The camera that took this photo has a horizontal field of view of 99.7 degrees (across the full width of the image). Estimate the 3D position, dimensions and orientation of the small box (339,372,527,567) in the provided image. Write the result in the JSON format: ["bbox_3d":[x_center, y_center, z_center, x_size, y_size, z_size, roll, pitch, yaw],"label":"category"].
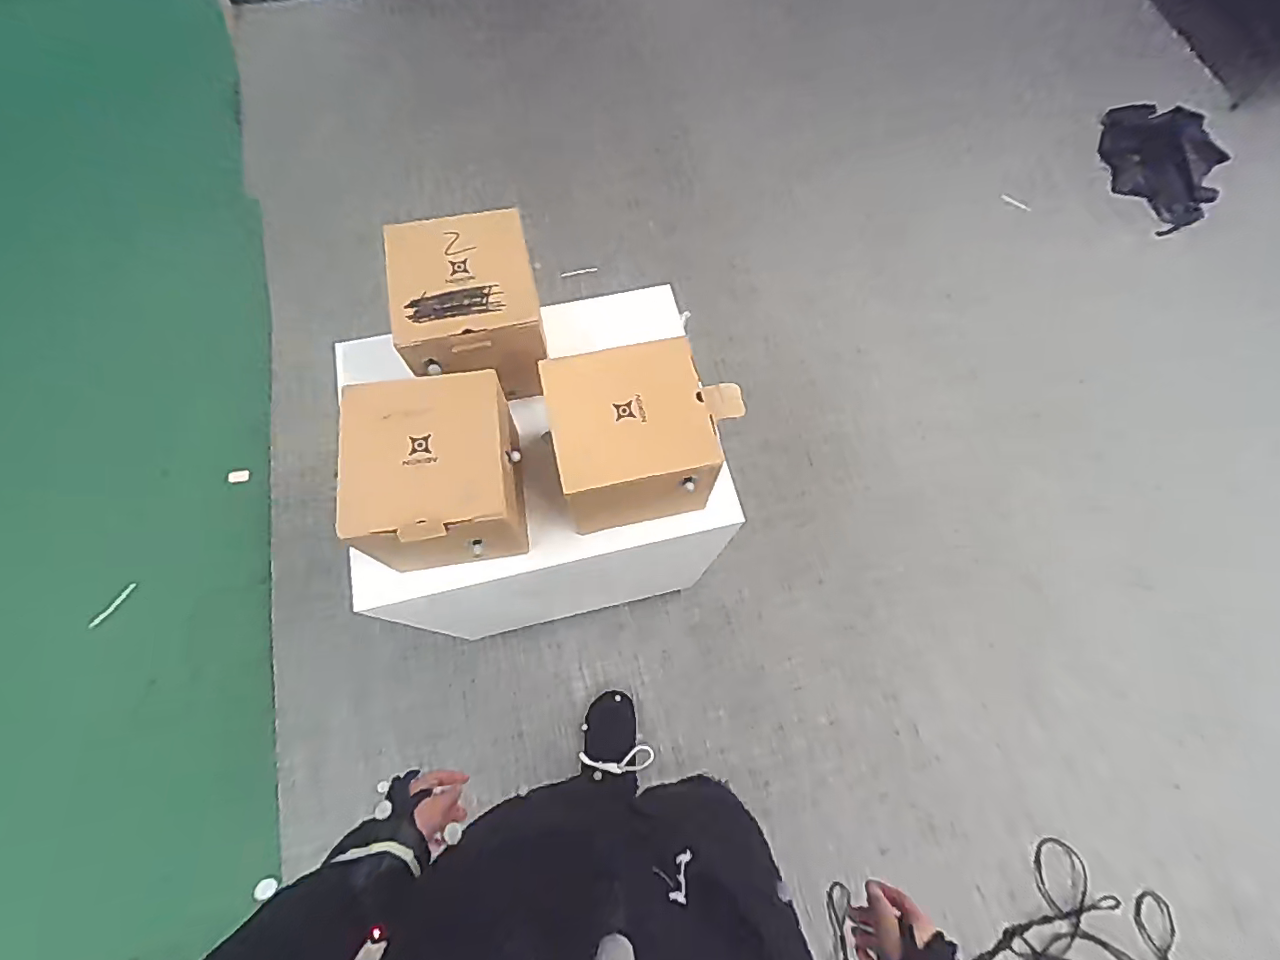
[{"bbox_3d":[-0.231,-0.002,0.638,0.168,0.176,0.179,-8,69,-7],"label":"small box"}]
